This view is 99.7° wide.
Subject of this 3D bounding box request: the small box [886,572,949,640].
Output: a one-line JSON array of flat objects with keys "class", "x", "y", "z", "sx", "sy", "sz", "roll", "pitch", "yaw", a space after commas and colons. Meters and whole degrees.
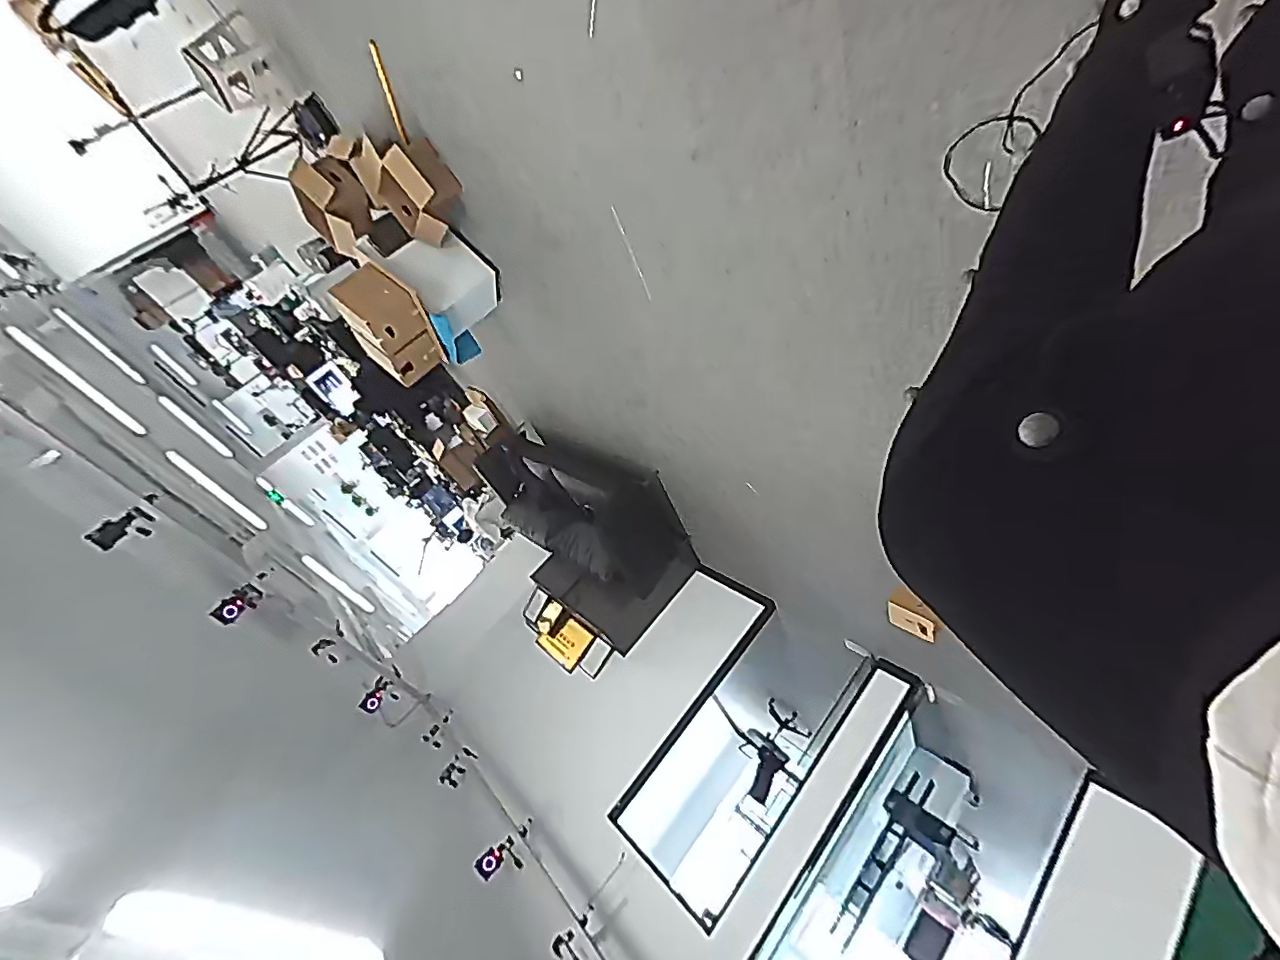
[{"class": "small box", "x": 1.101, "y": 0.494, "z": 2.142, "sx": 0.179, "sy": 0.176, "sz": 0.168, "roll": 25, "pitch": 152, "yaw": 42}]
